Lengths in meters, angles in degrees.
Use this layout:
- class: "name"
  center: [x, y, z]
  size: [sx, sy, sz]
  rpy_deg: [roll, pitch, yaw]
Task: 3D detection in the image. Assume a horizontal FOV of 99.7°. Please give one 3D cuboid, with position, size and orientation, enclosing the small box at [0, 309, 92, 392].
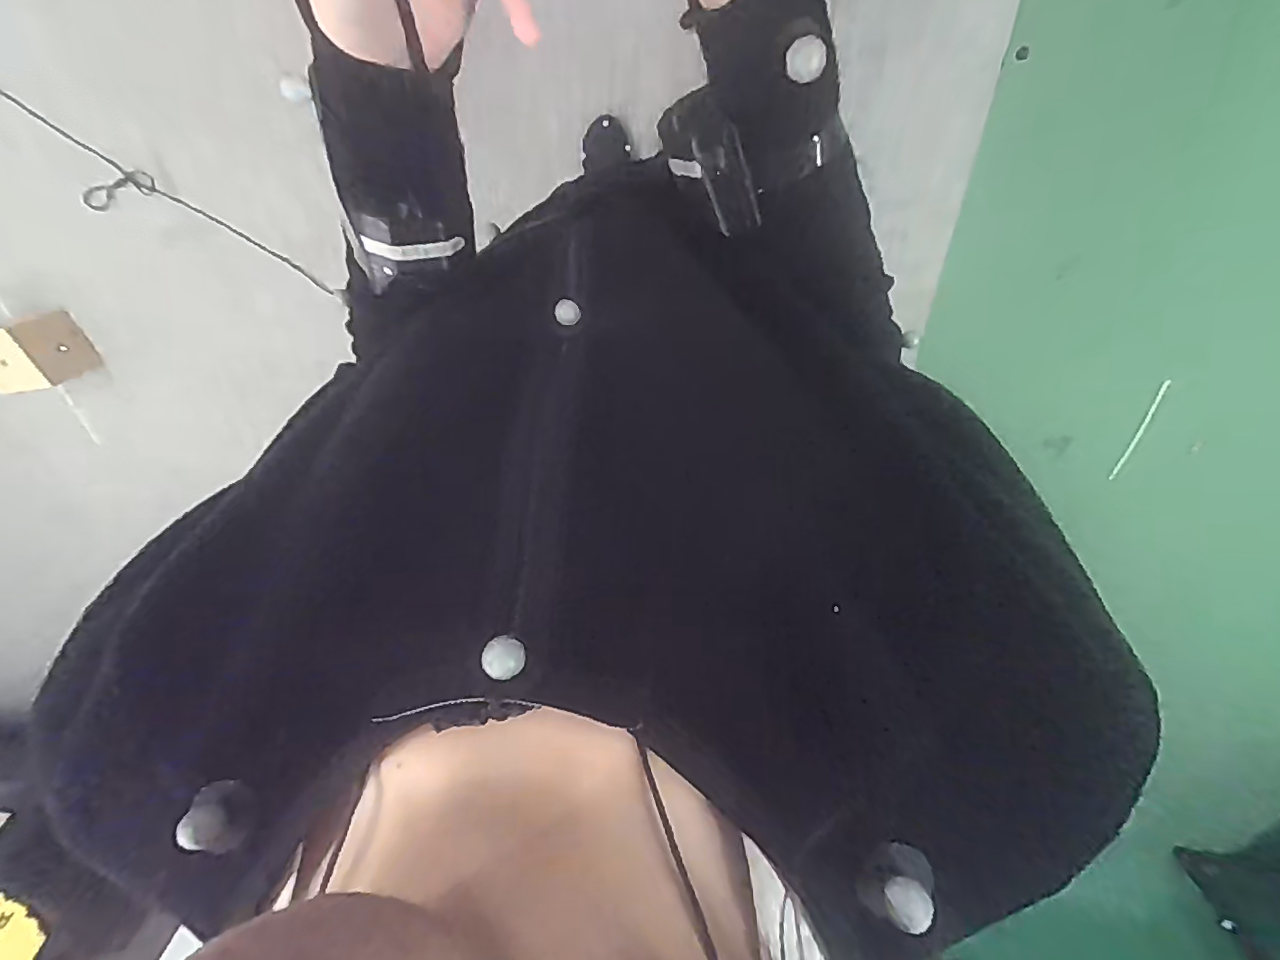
- class: "small box"
  center: [-1.675, -0.357, 1.478]
  size: [0.179, 0.176, 0.168]
  rpy_deg: [-5, 124, 7]
